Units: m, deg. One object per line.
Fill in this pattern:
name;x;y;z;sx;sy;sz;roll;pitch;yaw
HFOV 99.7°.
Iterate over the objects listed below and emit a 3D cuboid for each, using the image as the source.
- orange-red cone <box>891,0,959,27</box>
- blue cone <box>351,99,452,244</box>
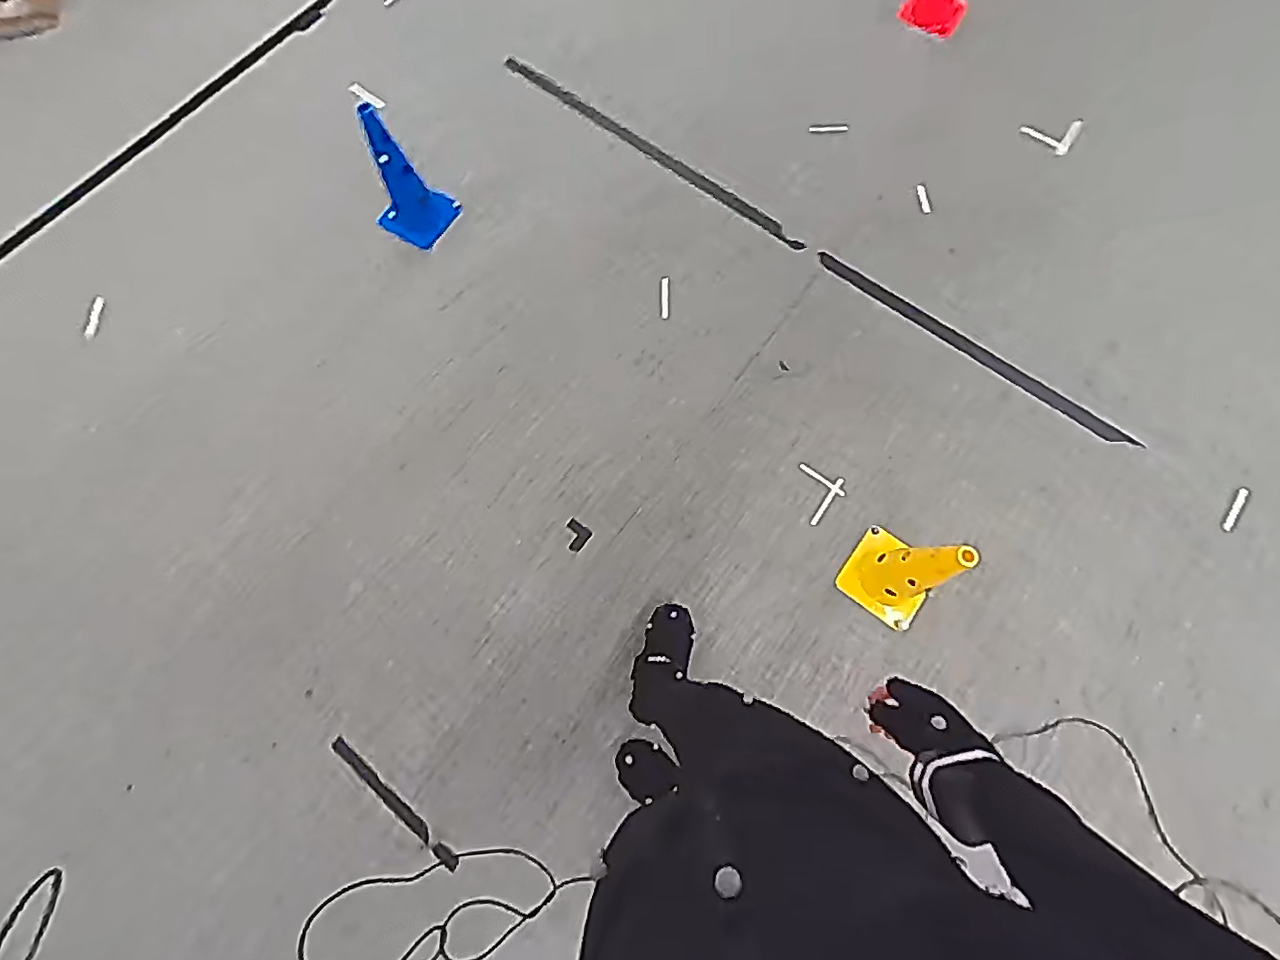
orange-red cone;1.019;-1.763;1.775;0.199;0.360;0.198;31;75;10
blue cone;-0.705;-0.871;1.516;0.193;0.380;0.192;31;76;9
